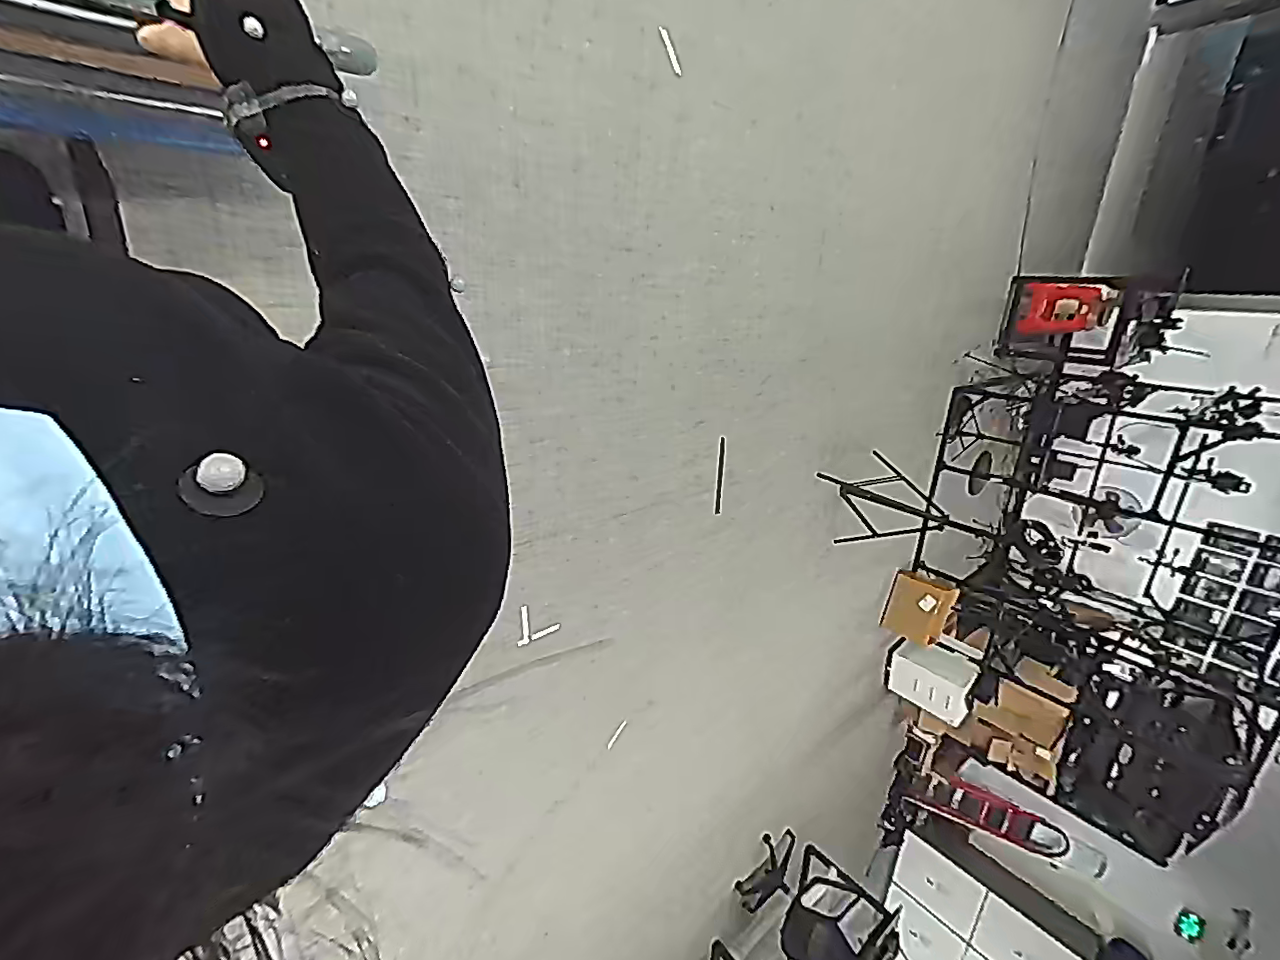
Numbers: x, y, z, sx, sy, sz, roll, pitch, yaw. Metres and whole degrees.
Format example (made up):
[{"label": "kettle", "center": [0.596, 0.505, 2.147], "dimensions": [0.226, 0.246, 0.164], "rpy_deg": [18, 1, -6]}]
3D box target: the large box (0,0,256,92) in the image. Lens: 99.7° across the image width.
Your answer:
[{"label": "large box", "center": [-0.764, -0.729, 0.659], "dimensions": [0.408, 0.320, 0.320], "rpy_deg": [-16, 117, -40]}]
